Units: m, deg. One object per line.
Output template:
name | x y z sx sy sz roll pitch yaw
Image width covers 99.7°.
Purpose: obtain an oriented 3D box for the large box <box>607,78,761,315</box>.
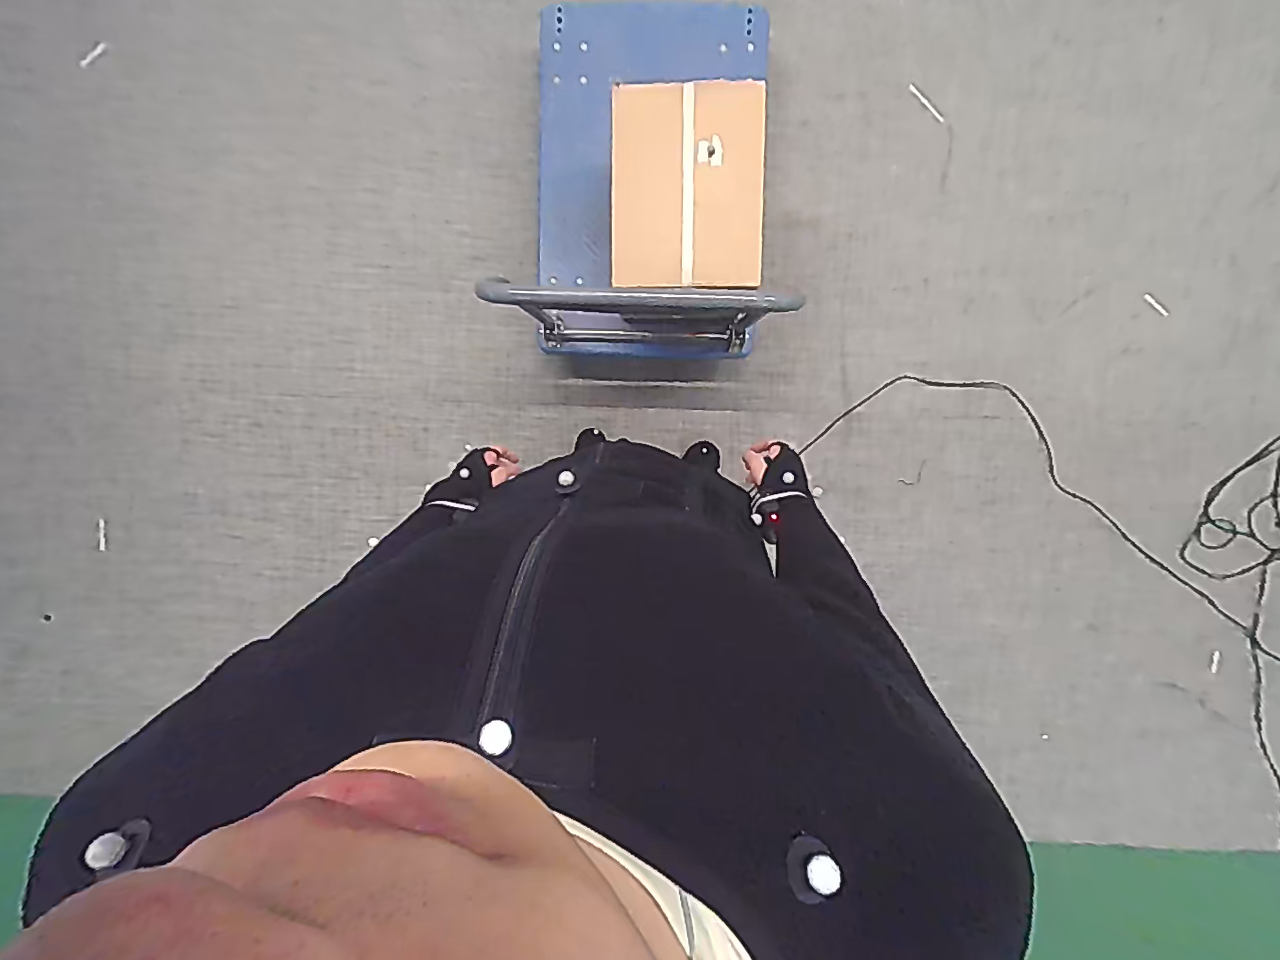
large box | 0.094 -0.617 1.249 0.320 0.320 0.408 0 95 1
